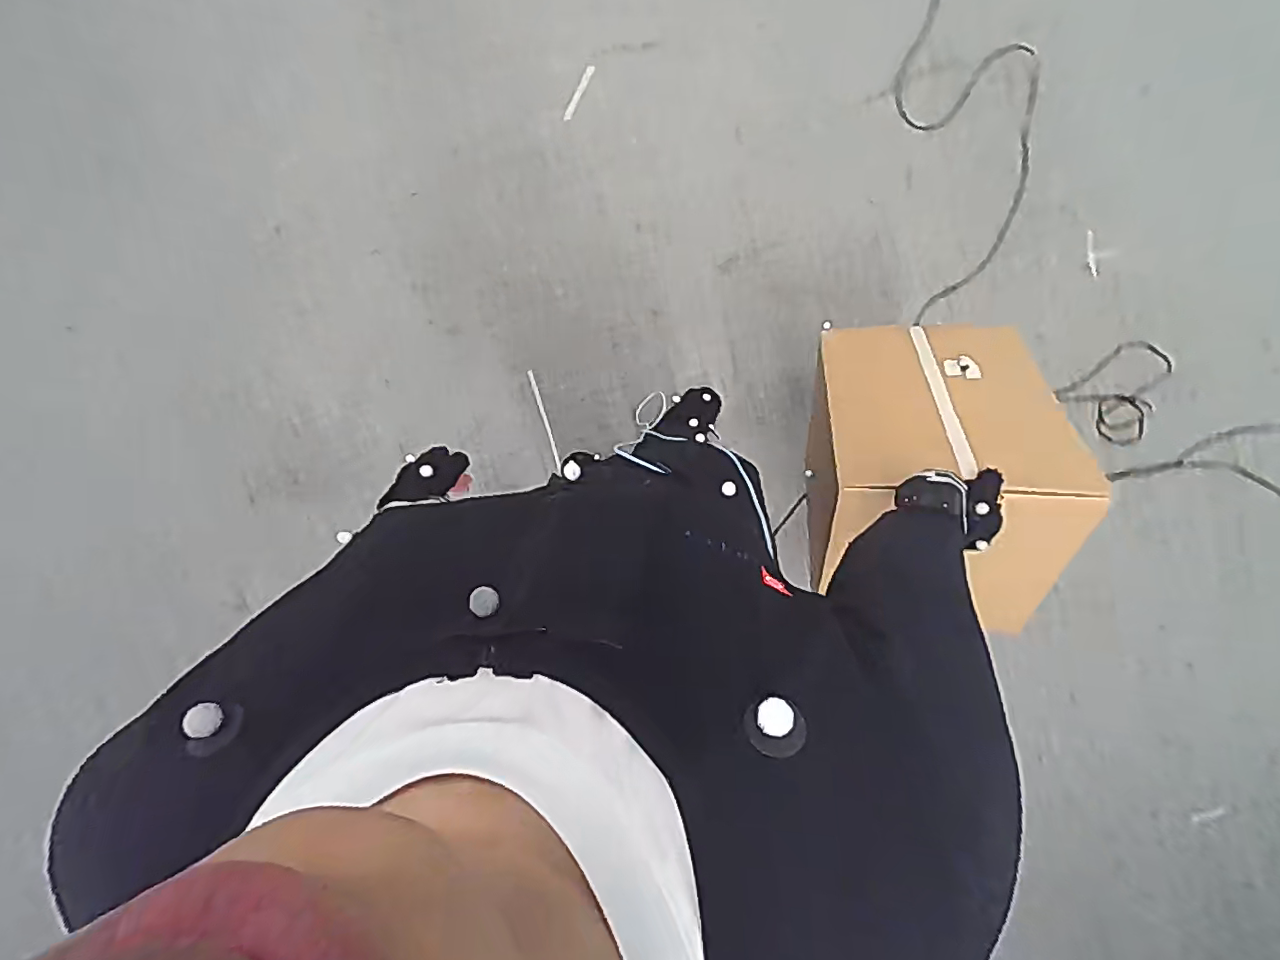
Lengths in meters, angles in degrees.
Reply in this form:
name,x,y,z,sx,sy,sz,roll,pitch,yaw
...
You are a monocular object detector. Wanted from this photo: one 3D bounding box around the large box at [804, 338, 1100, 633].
name,x,y,z,sx,sy,sz,roll,pitch,yaw
large box,0.460,0.000,0.923,0.320,0.408,0.320,4,134,10
